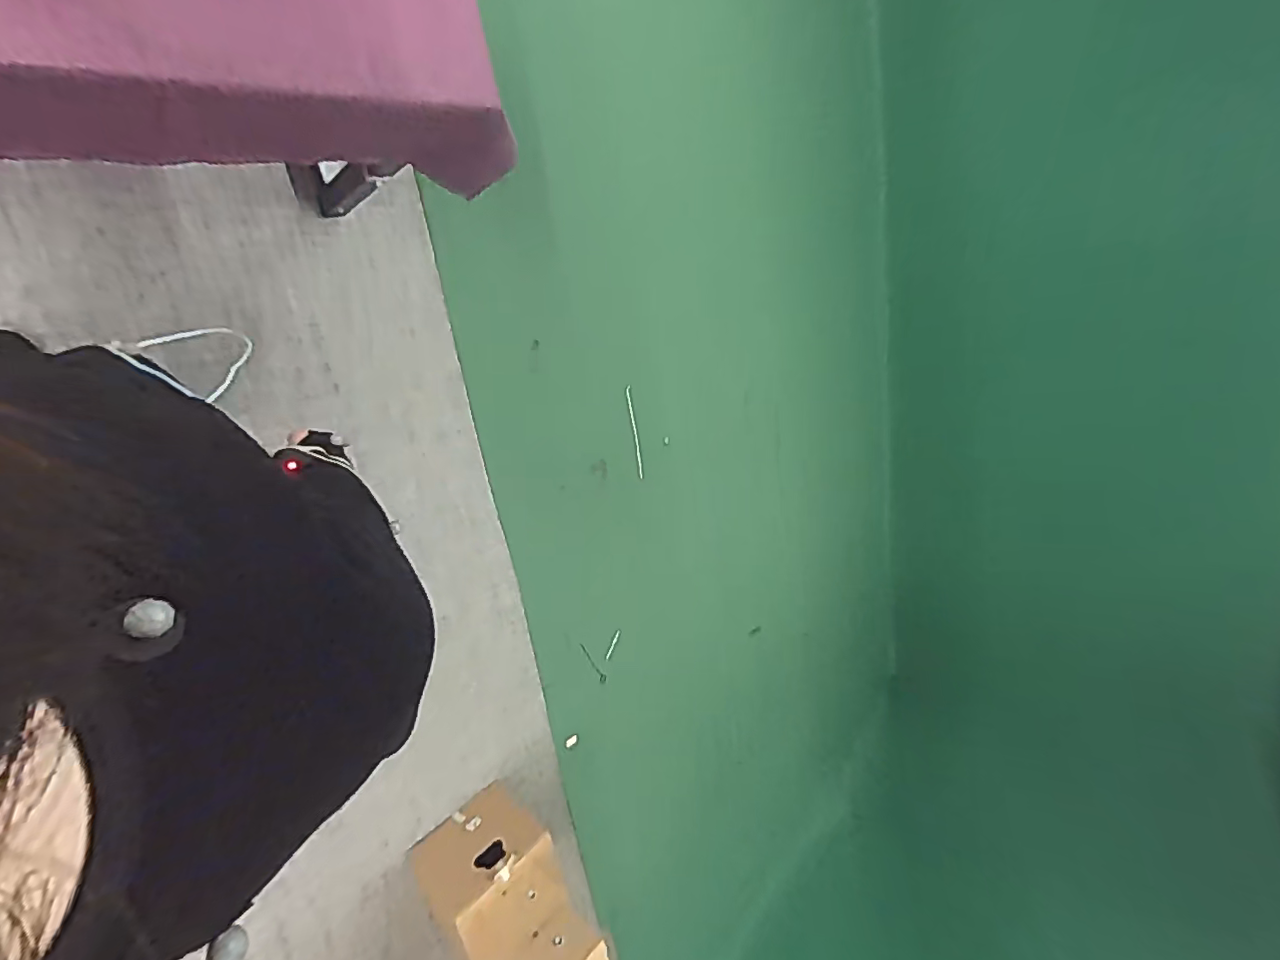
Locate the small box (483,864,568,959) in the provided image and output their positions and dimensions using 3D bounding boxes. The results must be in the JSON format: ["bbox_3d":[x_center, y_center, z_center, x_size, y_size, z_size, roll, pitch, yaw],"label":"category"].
[{"bbox_3d":[-0.304,1.198,1.471,0.168,0.176,0.179,-23,112,-41],"label":"small box"}]

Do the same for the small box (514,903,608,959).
[{"bbox_3d":[-0.193,1.214,1.349,0.168,0.176,0.179,-23,112,-41],"label":"small box"}]

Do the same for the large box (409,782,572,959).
[{"bbox_3d":[-0.454,1.254,1.675,0.320,0.320,0.408,-26,114,-40],"label":"large box"}]
